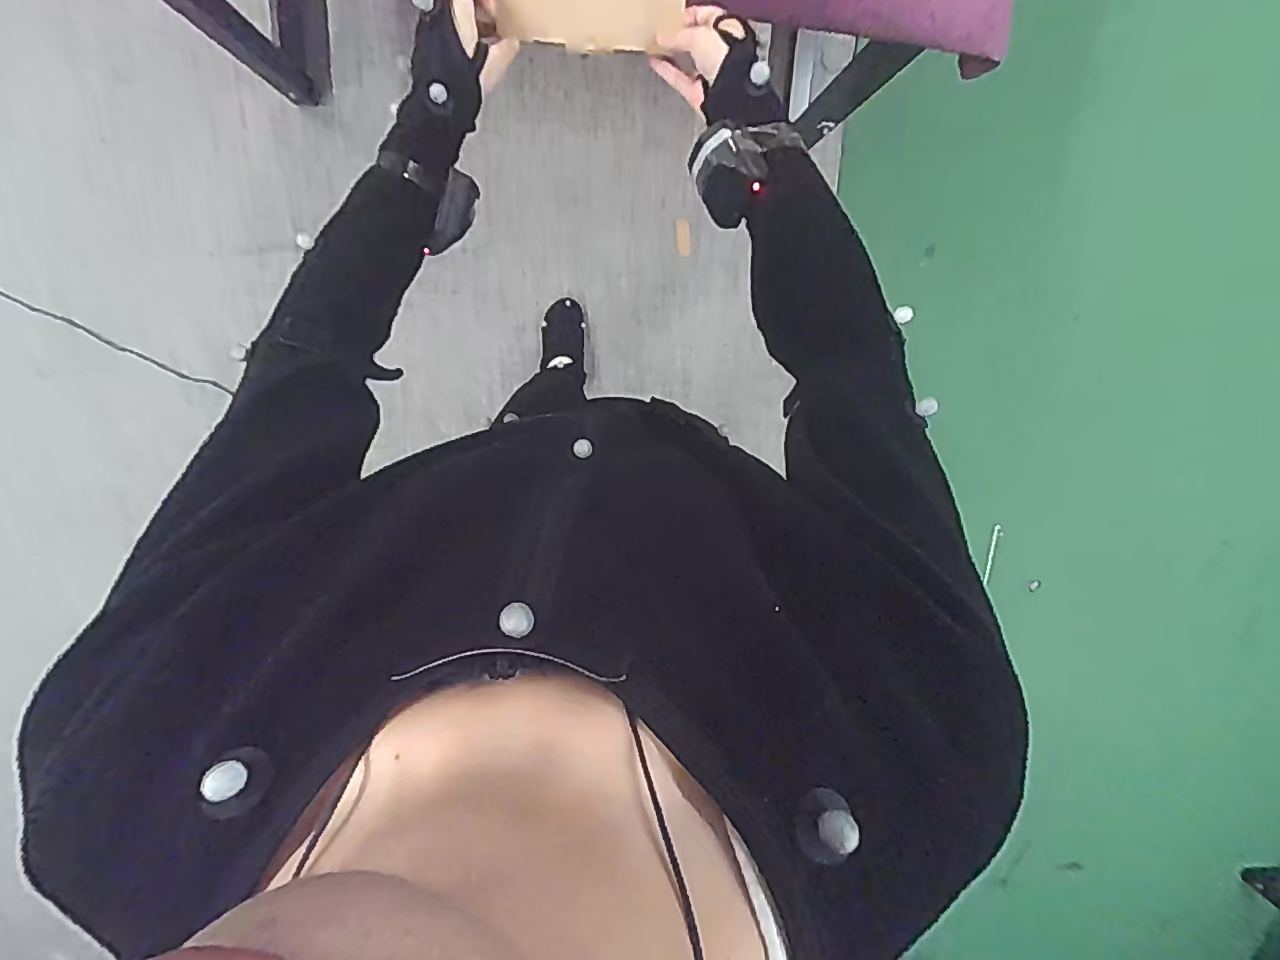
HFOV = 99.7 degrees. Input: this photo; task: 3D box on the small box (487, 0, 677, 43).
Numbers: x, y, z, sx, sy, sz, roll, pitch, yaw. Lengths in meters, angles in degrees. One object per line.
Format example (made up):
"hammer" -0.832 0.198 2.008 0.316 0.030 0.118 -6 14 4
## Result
"small box" -0.050 -0.515 0.471 0.168 0.176 0.179 -1 137 -9
